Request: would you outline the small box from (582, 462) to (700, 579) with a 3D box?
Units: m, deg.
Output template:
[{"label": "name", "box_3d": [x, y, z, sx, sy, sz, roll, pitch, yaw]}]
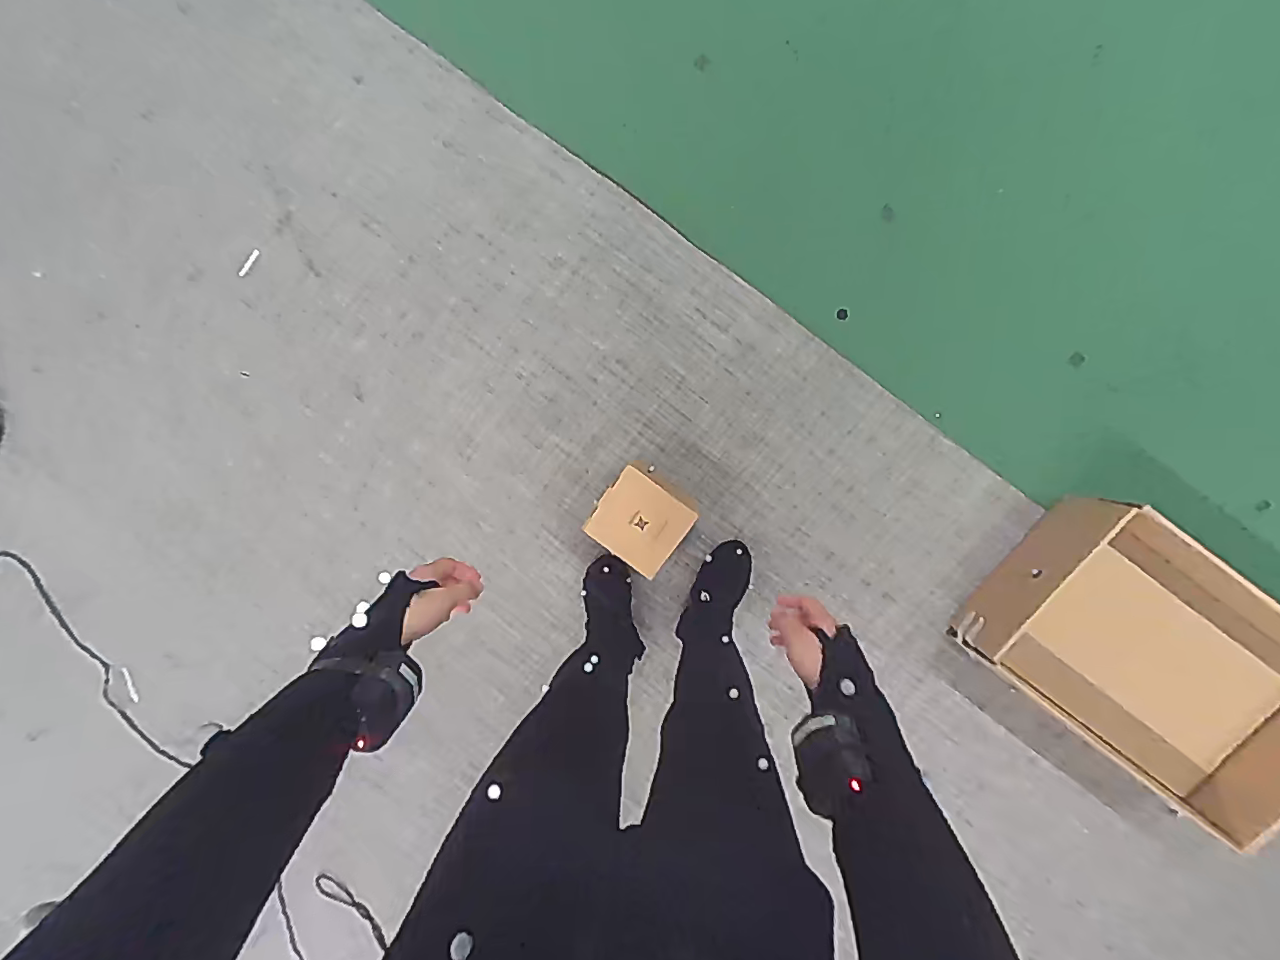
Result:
[{"label": "small box", "box_3d": [0.006, 0.075, 1.133, 0.179, 0.176, 0.168, 35, 99, -2]}]
